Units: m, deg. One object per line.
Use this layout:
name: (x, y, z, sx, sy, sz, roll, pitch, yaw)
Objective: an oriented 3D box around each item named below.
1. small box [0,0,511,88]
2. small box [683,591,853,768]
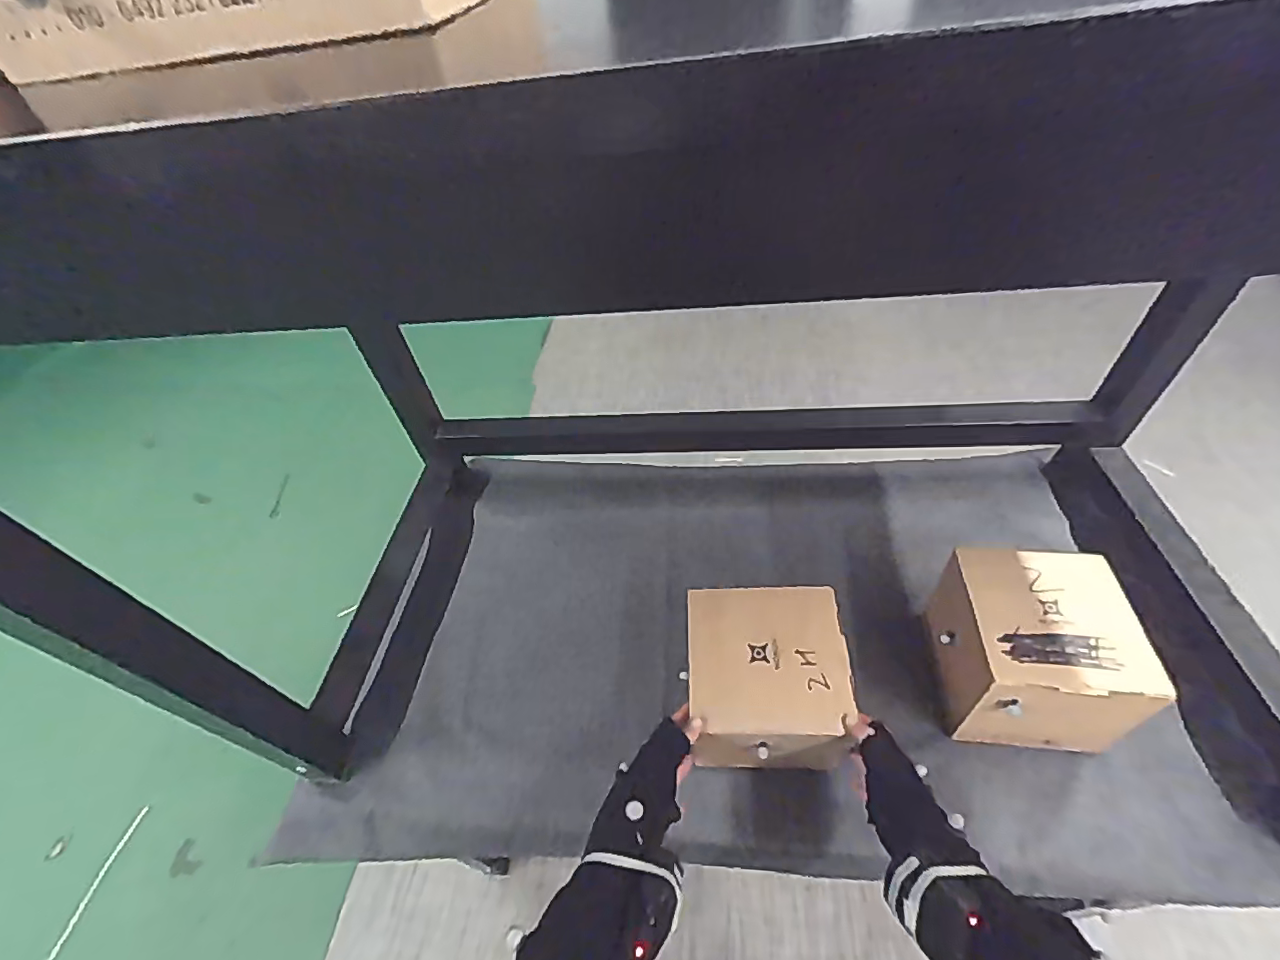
small box: (-0.156, -0.261, 0.195, 0.168, 0.176, 0.179, -2, 47, 7)
small box: (0.148, 0.249, 0.669, 0.179, 0.176, 0.168, -2, 52, 8)
